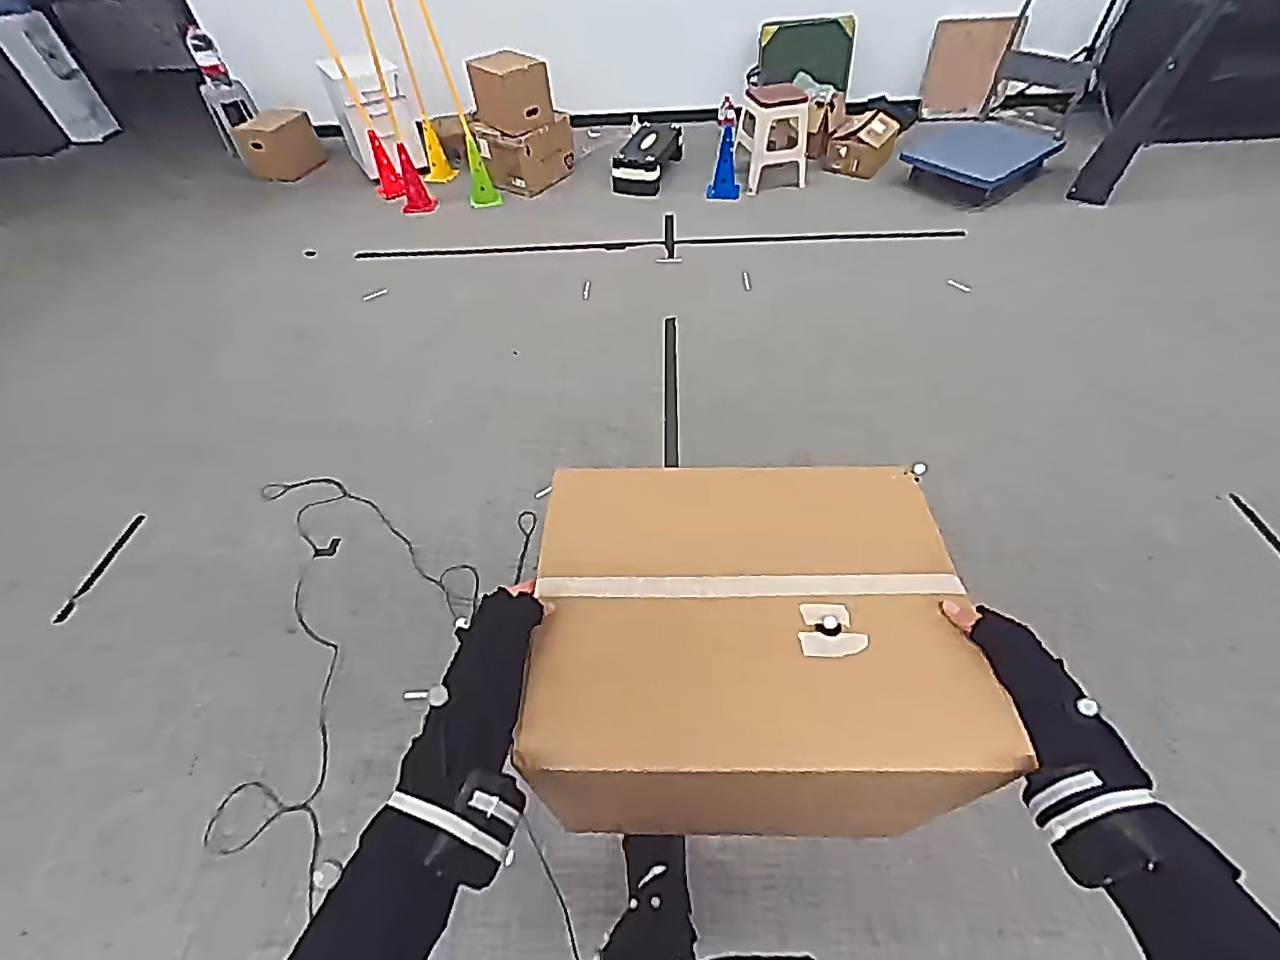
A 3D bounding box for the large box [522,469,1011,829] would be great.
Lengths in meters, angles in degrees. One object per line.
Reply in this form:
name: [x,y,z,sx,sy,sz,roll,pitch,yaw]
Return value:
large box: [0.102,0.204,0.641,0.408,0.320,0.320,-1,49,1]
